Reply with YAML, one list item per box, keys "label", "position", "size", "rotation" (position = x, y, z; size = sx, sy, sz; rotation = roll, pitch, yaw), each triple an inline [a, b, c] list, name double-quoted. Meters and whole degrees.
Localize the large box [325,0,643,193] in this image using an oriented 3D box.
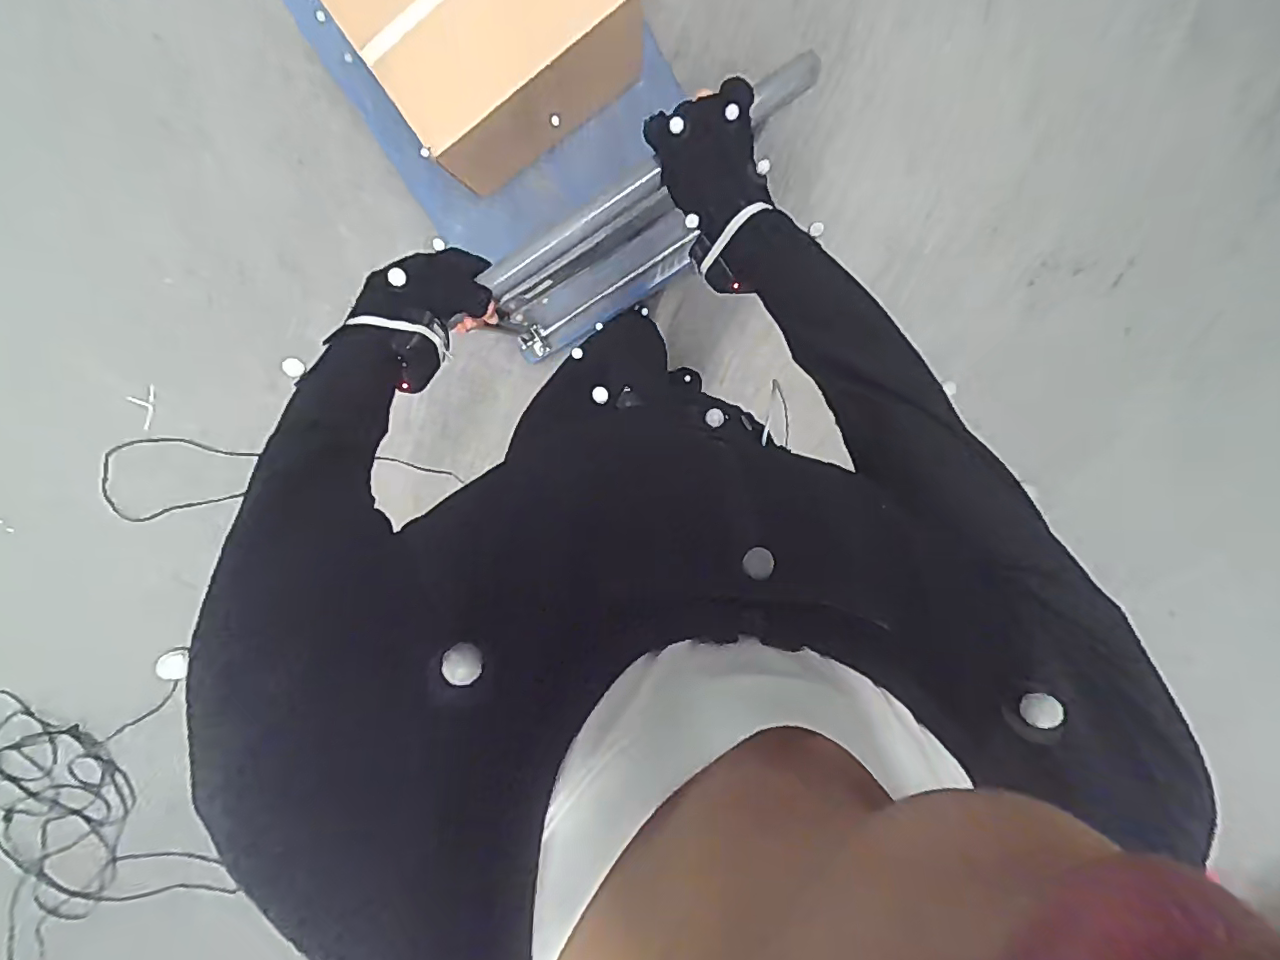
- label: "large box"
  position: [-0.243, -0.781, 0.926]
  size: [0.408, 0.320, 0.320]
  rotation: [-34, 104, 9]
